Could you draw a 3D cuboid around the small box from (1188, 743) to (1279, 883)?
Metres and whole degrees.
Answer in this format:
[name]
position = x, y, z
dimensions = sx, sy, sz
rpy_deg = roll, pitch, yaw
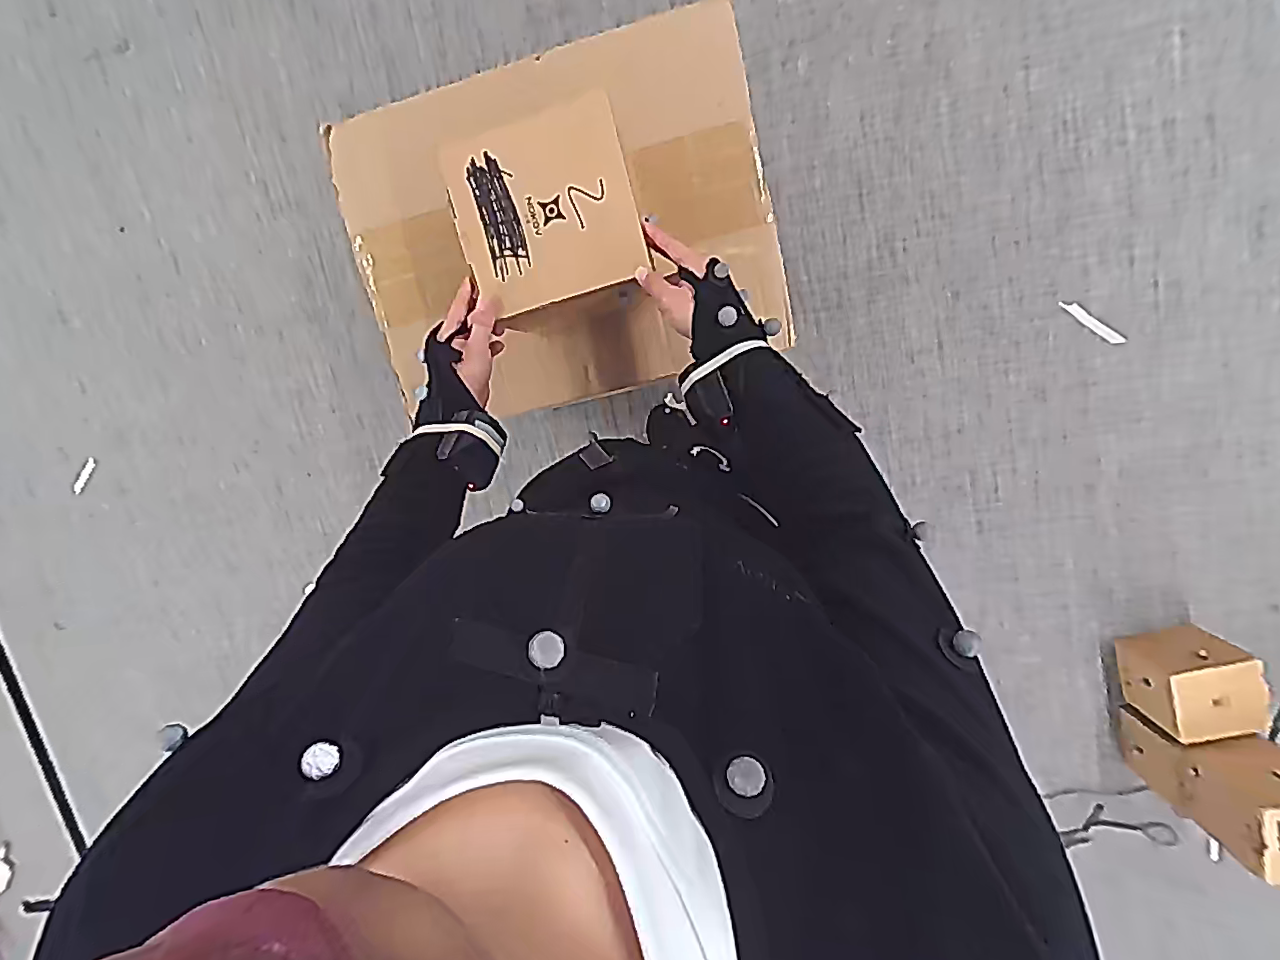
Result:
[small box]
position = 1.251, 0.652, 1.074
dimensions = 0.179, 0.176, 0.168
rpy_deg = -10, 99, 7
